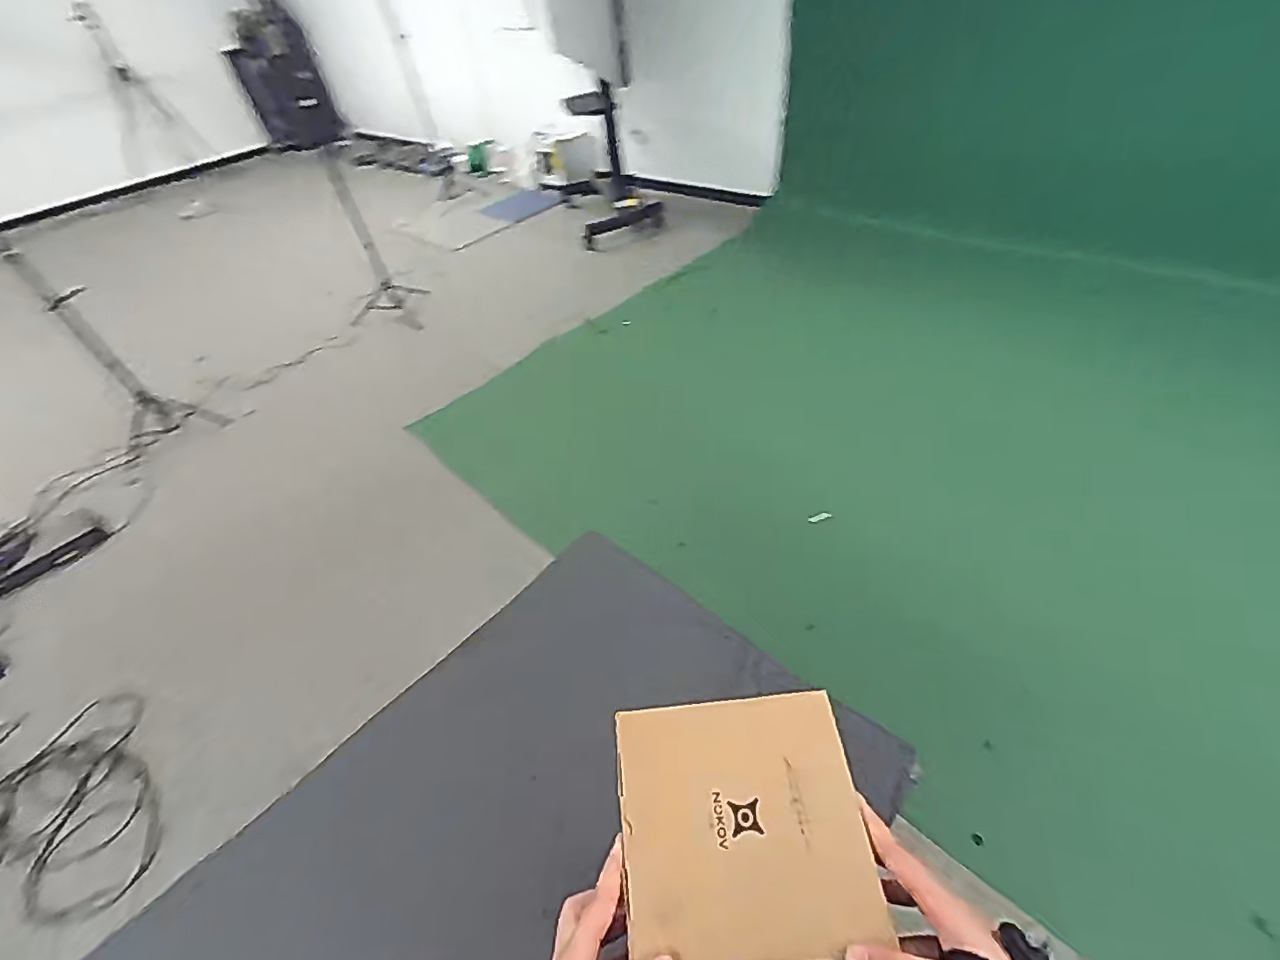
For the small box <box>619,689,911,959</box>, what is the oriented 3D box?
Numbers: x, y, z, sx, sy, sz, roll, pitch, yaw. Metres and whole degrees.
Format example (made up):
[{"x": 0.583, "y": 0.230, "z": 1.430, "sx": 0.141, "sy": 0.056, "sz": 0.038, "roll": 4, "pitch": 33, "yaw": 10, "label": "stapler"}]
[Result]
[{"x": 0.082, "y": 0.285, "z": 0.443, "sx": 0.179, "sy": 0.176, "sz": 0.168, "roll": -6, "pitch": 54, "yaw": 0, "label": "small box"}]
